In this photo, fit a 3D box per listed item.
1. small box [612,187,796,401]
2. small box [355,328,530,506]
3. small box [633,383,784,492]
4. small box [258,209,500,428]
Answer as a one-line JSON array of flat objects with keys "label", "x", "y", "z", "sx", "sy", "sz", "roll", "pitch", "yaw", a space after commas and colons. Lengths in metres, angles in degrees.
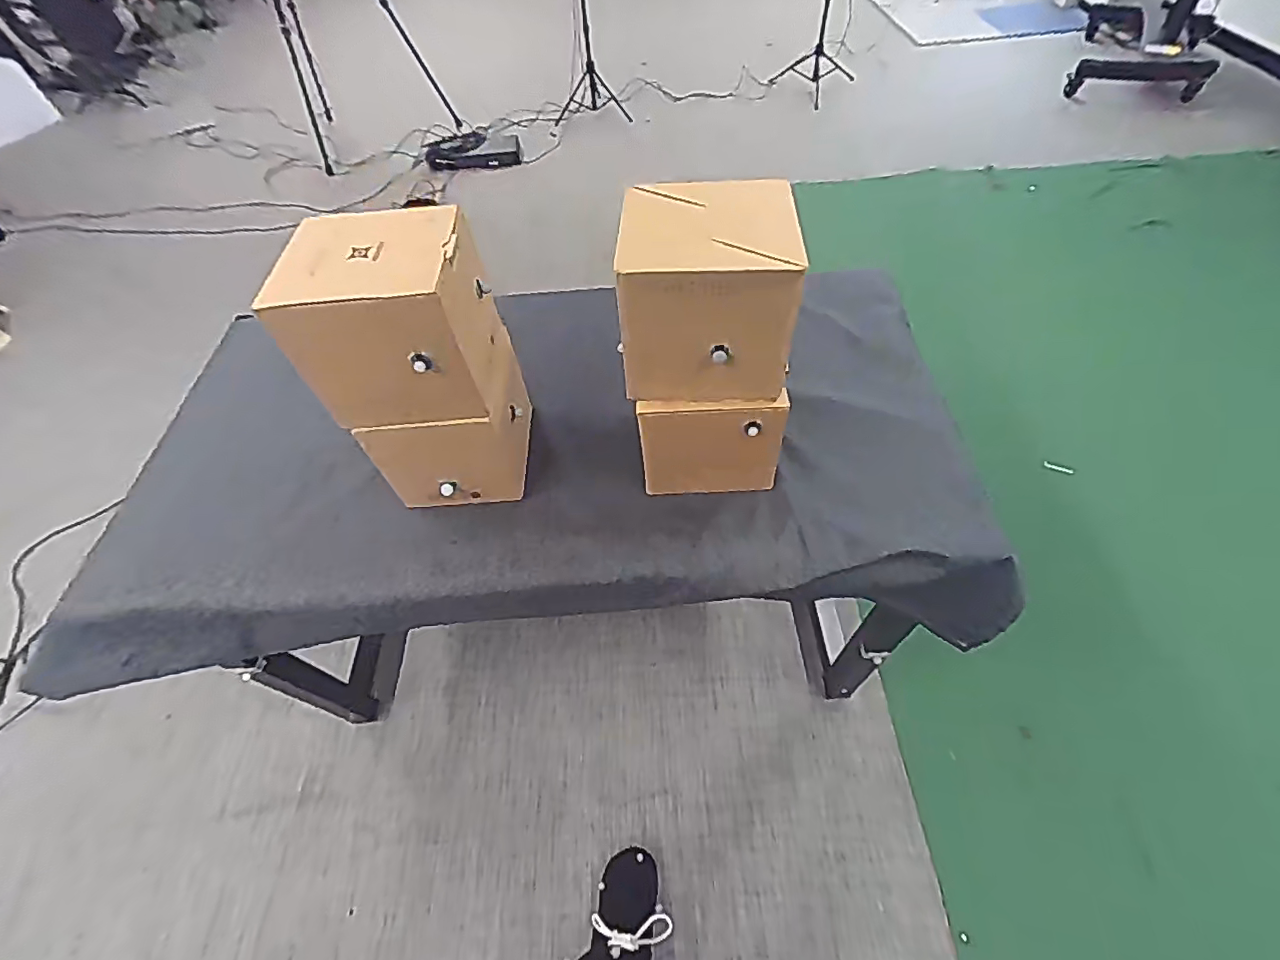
[{"label": "small box", "x": 0.069, "y": -0.206, "z": 0.604, "sx": 0.179, "sy": 0.176, "sz": 0.168, "roll": 1, "pitch": 54, "yaw": 5}, {"label": "small box", "x": -0.253, "y": -0.083, "z": 0.744, "sx": 0.168, "sy": 0.176, "sz": 0.179, "roll": -4, "pitch": 55, "yaw": 2}, {"label": "small box", "x": 0.084, "y": -0.096, "z": 0.731, "sx": 0.179, "sy": 0.176, "sz": 0.168, "roll": -2, "pitch": 54, "yaw": 2}, {"label": "small box", "x": -0.269, "y": -0.177, "z": 0.612, "sx": 0.179, "sy": 0.176, "sz": 0.168, "roll": -6, "pitch": 53, "yaw": 1}]
